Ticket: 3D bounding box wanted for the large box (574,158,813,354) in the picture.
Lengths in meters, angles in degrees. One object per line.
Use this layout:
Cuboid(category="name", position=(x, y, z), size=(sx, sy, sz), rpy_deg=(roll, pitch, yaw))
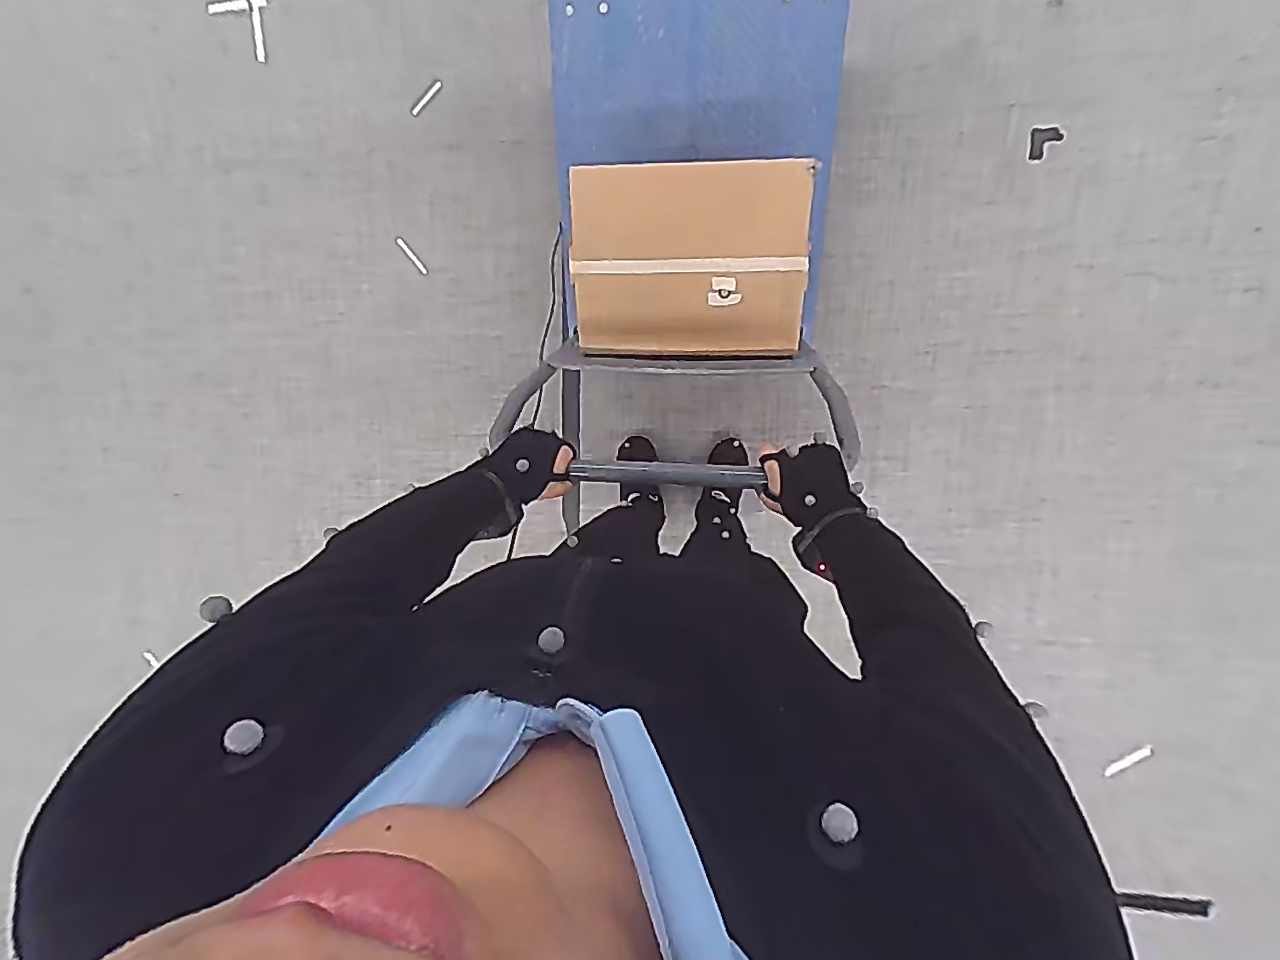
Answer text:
Cuboid(category="large box", position=(0.104, -0.439, 1.091), size=(0.408, 0.320, 0.320), rpy_deg=(1, 113, 6))
